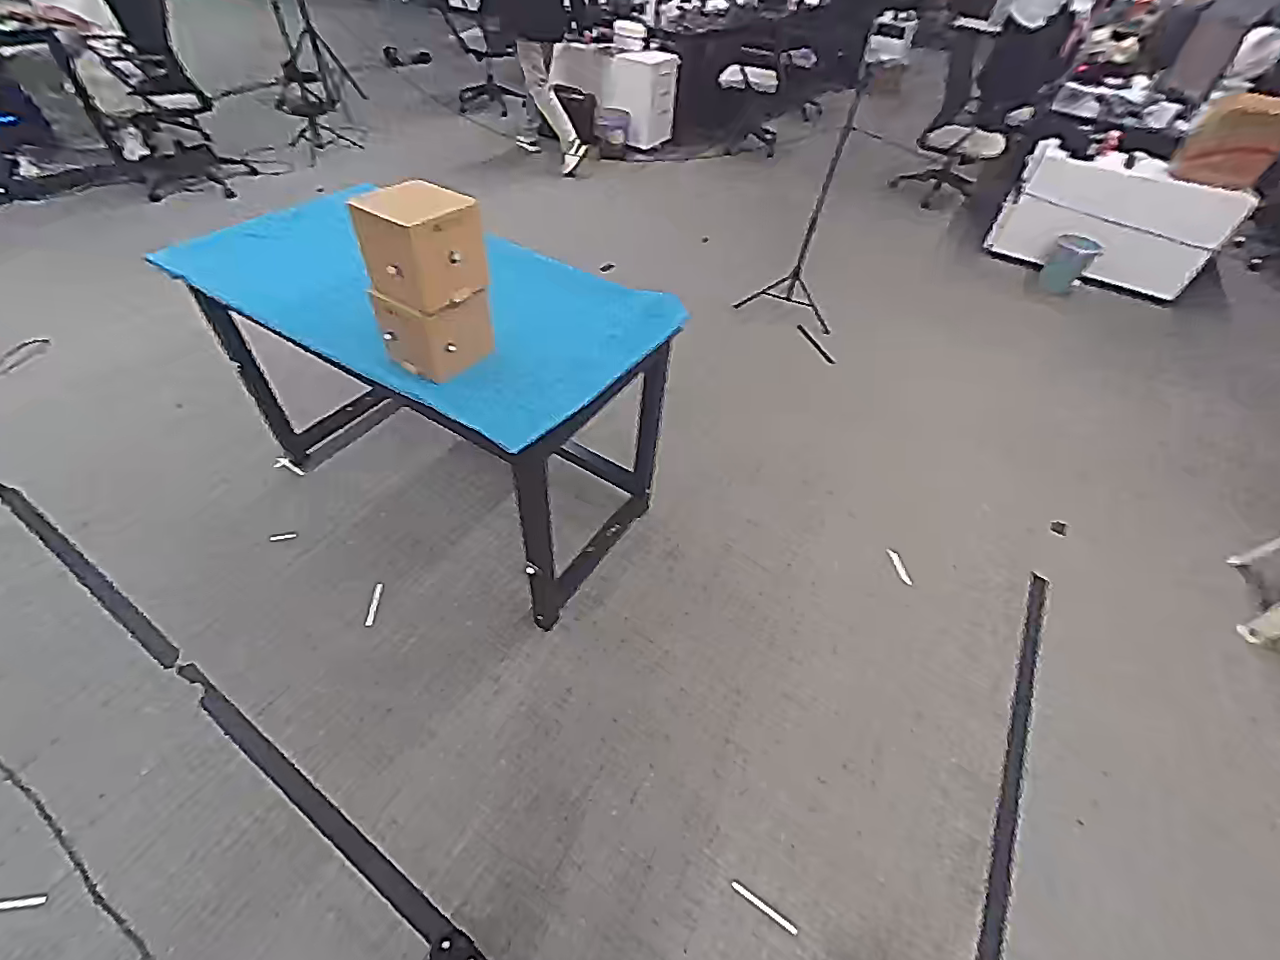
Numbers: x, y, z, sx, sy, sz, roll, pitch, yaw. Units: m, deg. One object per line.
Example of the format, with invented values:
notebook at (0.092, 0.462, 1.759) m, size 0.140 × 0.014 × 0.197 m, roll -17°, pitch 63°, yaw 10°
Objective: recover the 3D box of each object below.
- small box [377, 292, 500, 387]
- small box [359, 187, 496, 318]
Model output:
small box at (-0.433, -0.338, 1.174) m, size 0.168 × 0.176 × 0.179 m, roll 28°, pitch 50°, yaw 19°
small box at (-0.412, -0.449, 1.056) m, size 0.179 × 0.176 × 0.168 m, roll 27°, pitch 49°, yaw 22°
